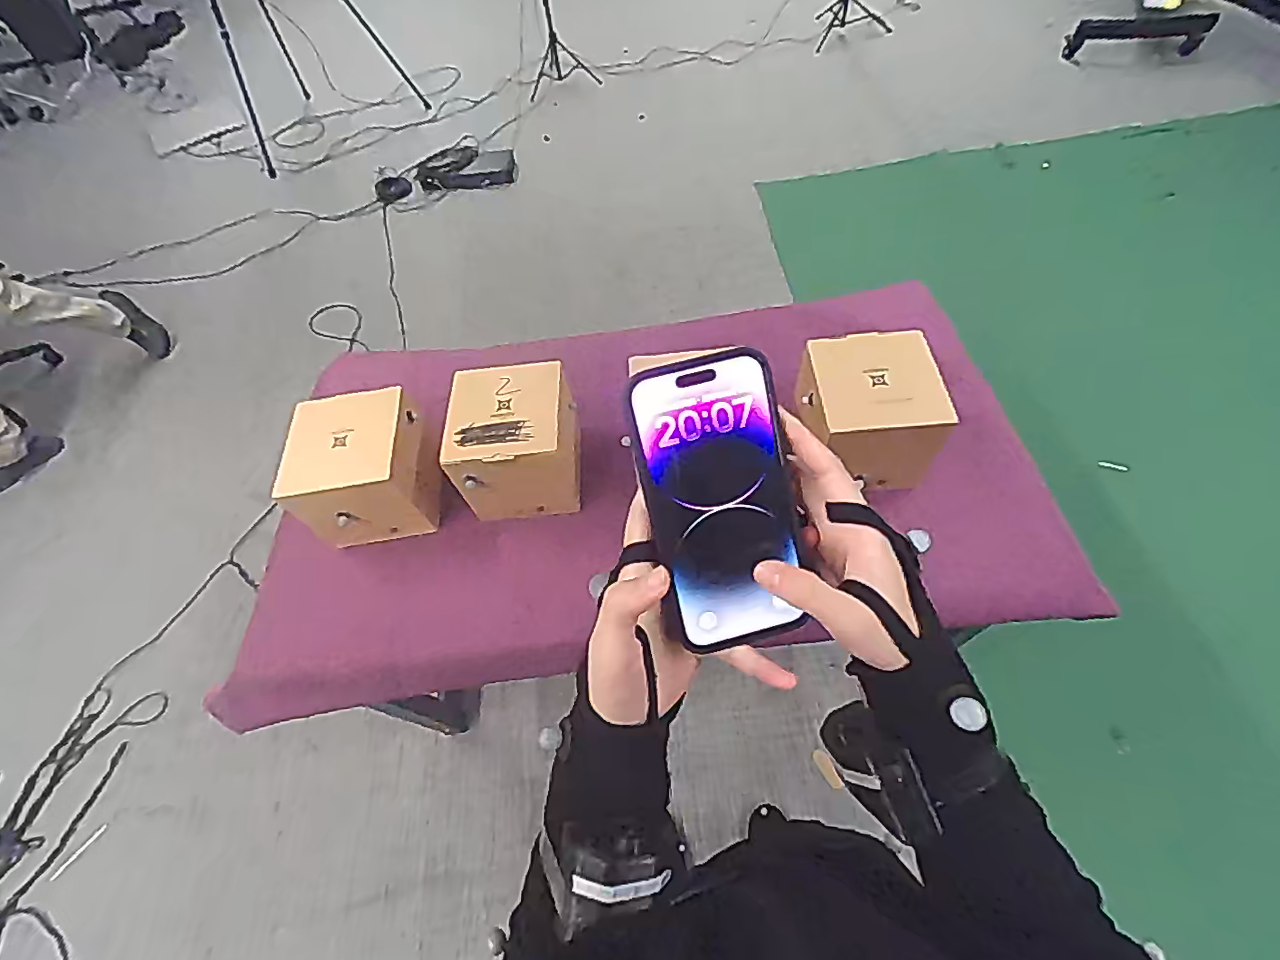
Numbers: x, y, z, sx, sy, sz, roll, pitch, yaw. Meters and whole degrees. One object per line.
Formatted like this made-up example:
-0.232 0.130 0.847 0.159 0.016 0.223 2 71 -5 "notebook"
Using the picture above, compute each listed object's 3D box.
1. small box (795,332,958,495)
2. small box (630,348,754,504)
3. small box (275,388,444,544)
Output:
0.335 -0.095 0.811 0.168 0.176 0.179 -4 57 5 "small box"
0.076 -0.072 0.825 0.168 0.176 0.179 -4 57 3 "small box"
-0.421 -0.013 0.846 0.168 0.176 0.179 -10 56 0 "small box"
